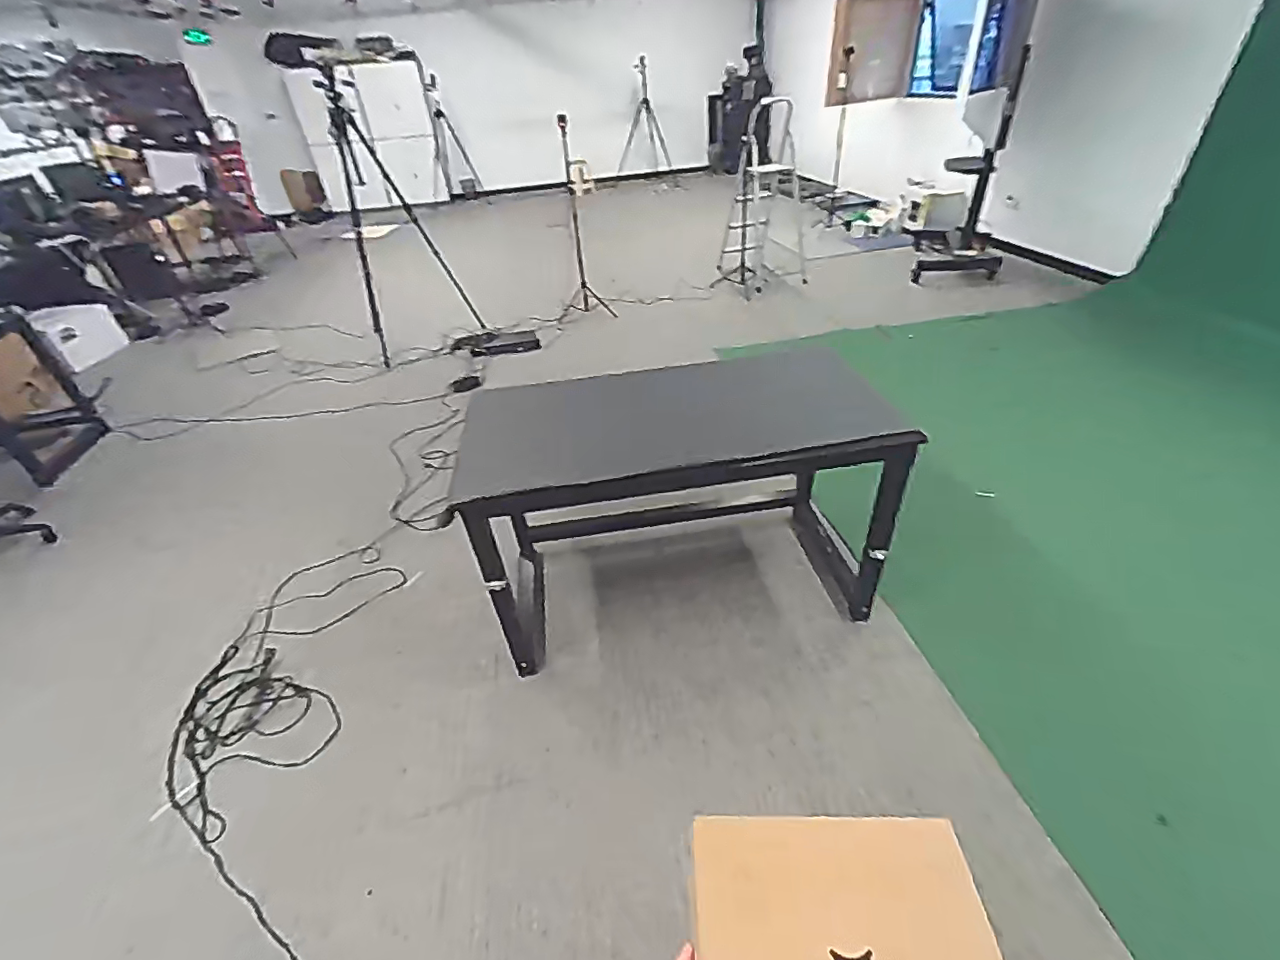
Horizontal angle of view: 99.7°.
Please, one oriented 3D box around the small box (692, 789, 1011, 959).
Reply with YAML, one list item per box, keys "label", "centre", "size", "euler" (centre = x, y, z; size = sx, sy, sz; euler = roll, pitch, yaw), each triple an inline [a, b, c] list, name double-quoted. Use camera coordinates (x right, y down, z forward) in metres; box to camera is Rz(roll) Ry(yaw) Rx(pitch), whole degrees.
- label: "small box"
  centre: [0.119, 0.321, 0.339]
  size: [0.168, 0.176, 0.179]
  euler: [-2, 40, 3]
